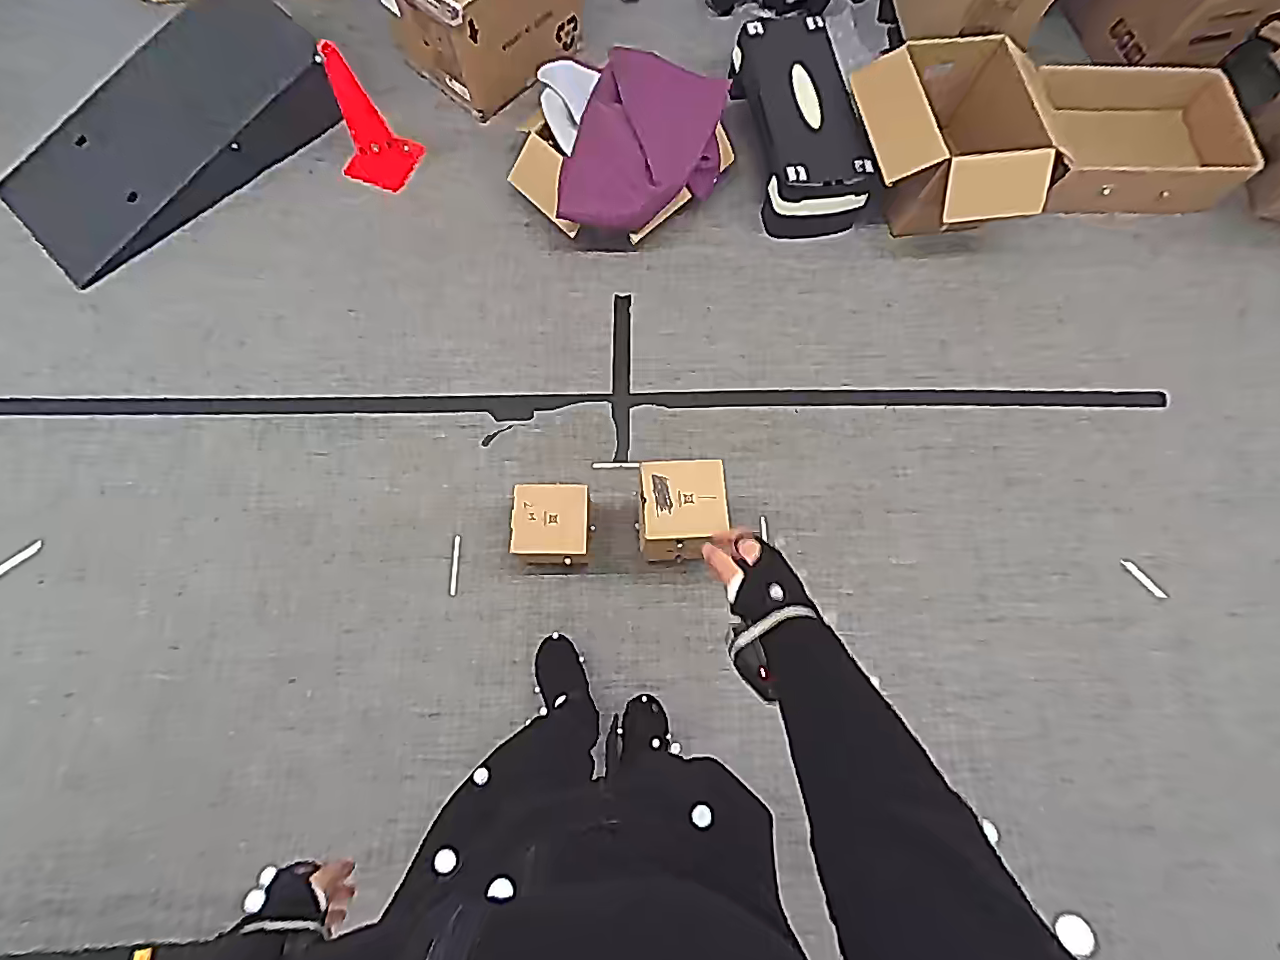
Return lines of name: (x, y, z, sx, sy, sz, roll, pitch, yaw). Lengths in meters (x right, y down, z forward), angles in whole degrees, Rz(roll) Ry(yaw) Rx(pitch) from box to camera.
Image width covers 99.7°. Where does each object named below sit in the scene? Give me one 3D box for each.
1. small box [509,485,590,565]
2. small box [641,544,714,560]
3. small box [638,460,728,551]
small box: (-0.213, 0.114, 1.324, 0.179, 0.176, 0.168, 1, 74, -2)
small box: (0.084, 0.103, 1.342, 0.168, 0.176, 0.179, -3, 75, -3)
small box: (0.085, 0.061, 1.182, 0.179, 0.176, 0.168, -2, 74, -4)
